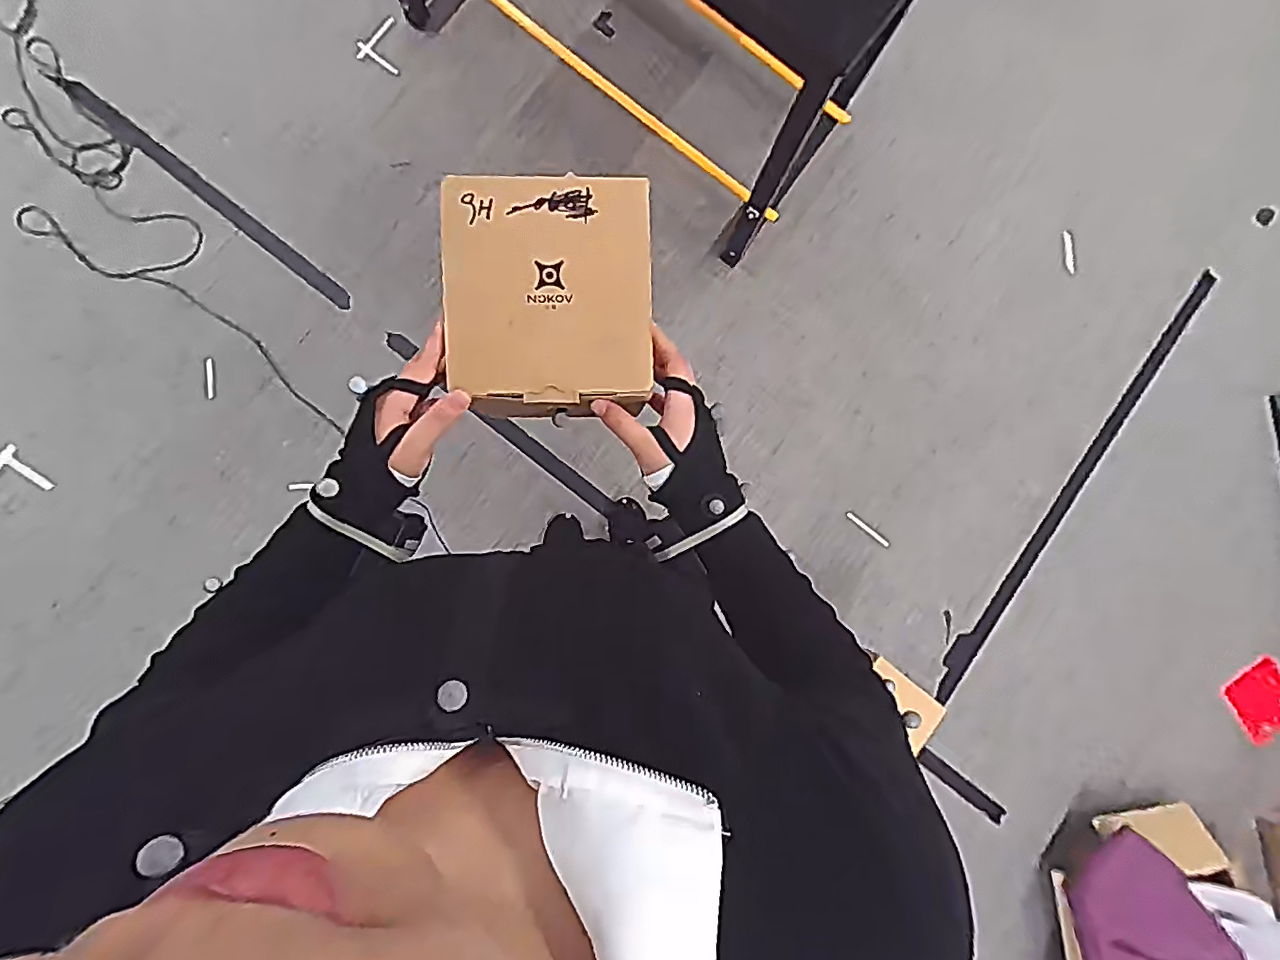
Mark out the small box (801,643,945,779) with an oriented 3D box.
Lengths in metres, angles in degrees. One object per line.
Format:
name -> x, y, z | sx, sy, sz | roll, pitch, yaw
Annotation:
small box -> 0.472, 0.463, 1.120 | 0.179, 0.176, 0.168 | 40, 84, -1

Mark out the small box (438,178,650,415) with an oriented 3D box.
small box -> -0.077, -0.152, 0.505 | 0.168, 0.176, 0.179 | -2, 92, -3
